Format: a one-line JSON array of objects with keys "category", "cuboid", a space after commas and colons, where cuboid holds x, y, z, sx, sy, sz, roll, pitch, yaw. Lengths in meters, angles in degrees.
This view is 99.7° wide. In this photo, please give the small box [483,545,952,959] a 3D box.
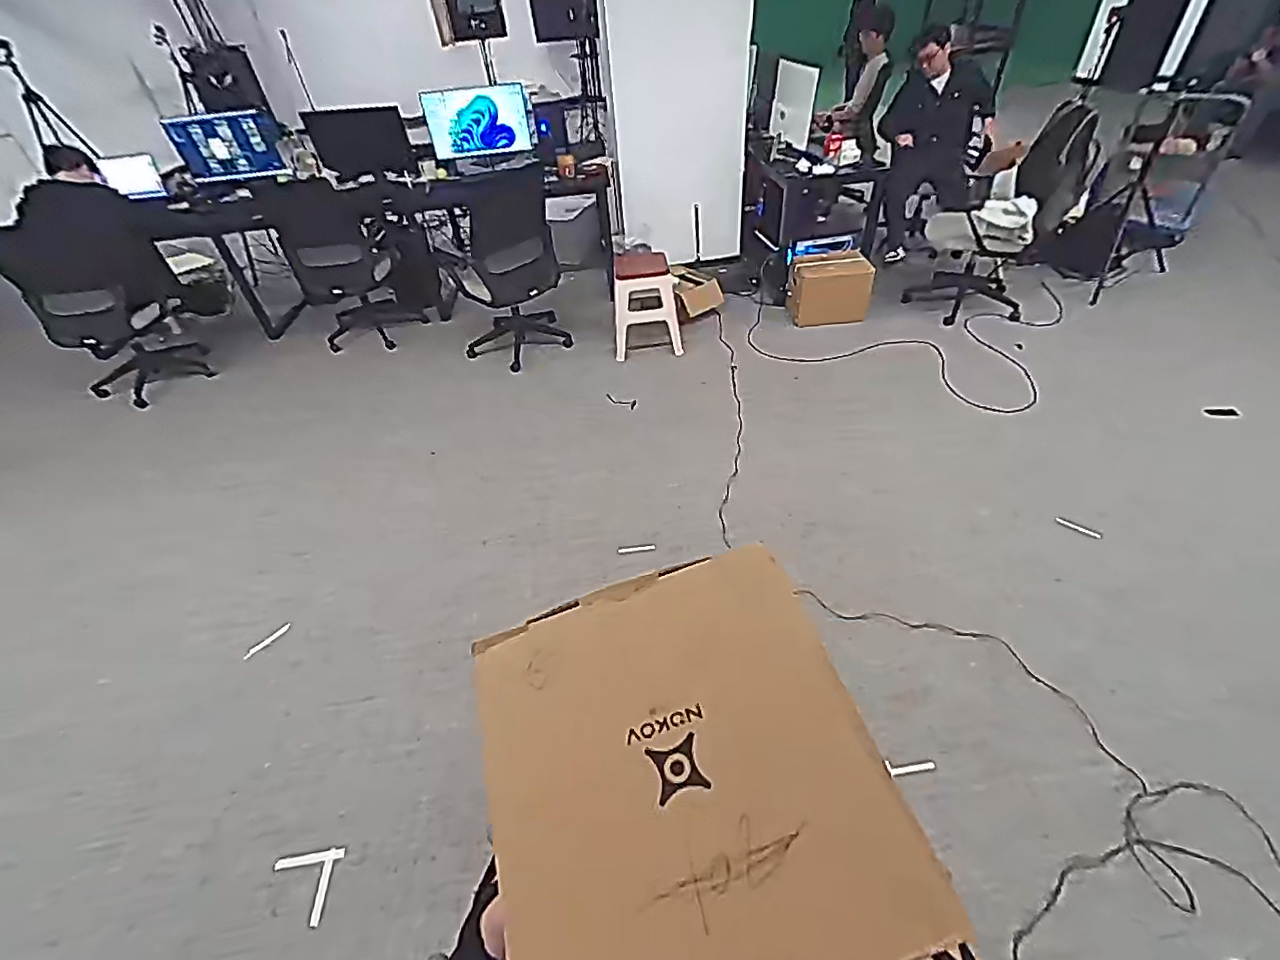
[{"category": "small box", "cuboid": [0.028, 0.172, 0.311, 0.168, 0.176, 0.179, -20, 53, -4]}]
